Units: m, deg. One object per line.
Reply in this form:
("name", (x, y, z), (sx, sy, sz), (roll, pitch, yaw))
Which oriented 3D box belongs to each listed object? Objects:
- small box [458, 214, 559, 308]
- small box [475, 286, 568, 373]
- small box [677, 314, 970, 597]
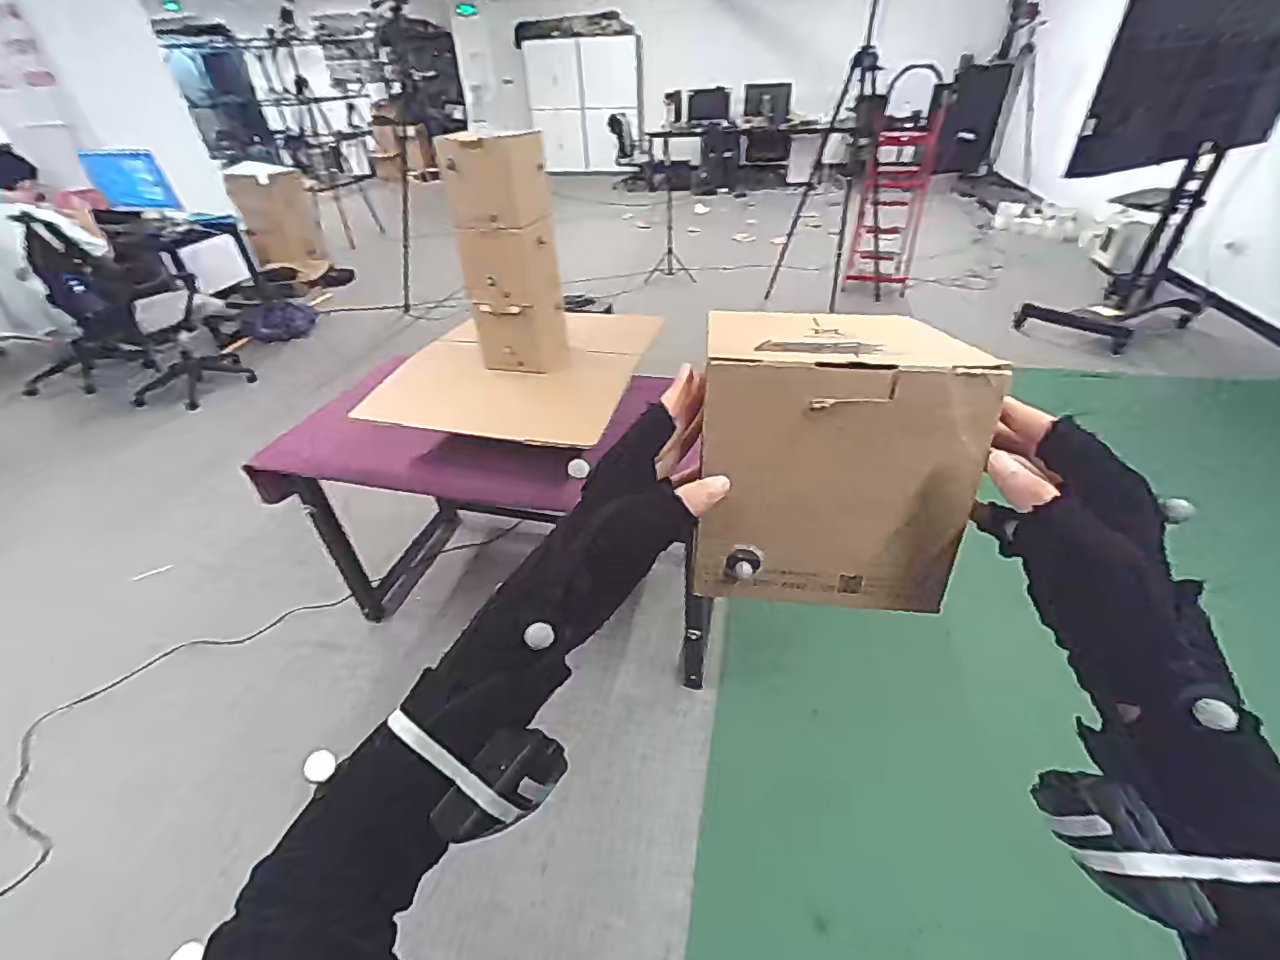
("small box", (-0.300, -0.521, 1.281), (0.168, 0.176, 0.179), (7, 38, 14))
("small box", (-0.292, -0.389, 1.377), (0.168, 0.176, 0.179), (7, 37, 14))
("small box", (0.115, -0.028, 0.415), (0.168, 0.176, 0.179), (3, 25, 6))
